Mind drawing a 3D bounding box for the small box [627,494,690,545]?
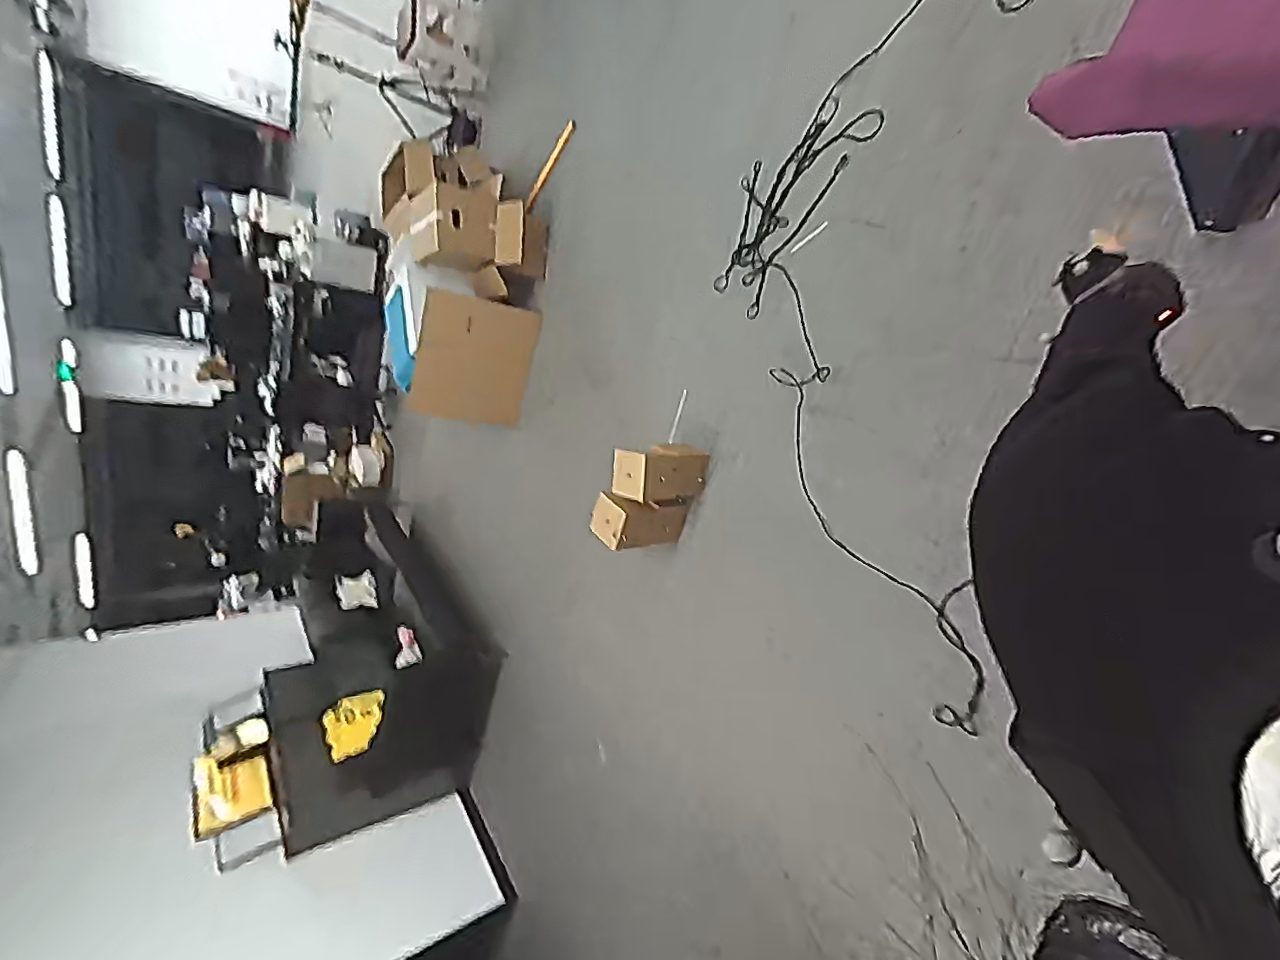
[{"bbox_3d":[0.079,0.141,2.186,0.168,0.176,0.179,37,119,43],"label":"small box"}]

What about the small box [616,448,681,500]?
[{"bbox_3d":[0.032,-0.027,1.985,0.179,0.176,0.168,14,102,50],"label":"small box"}]
